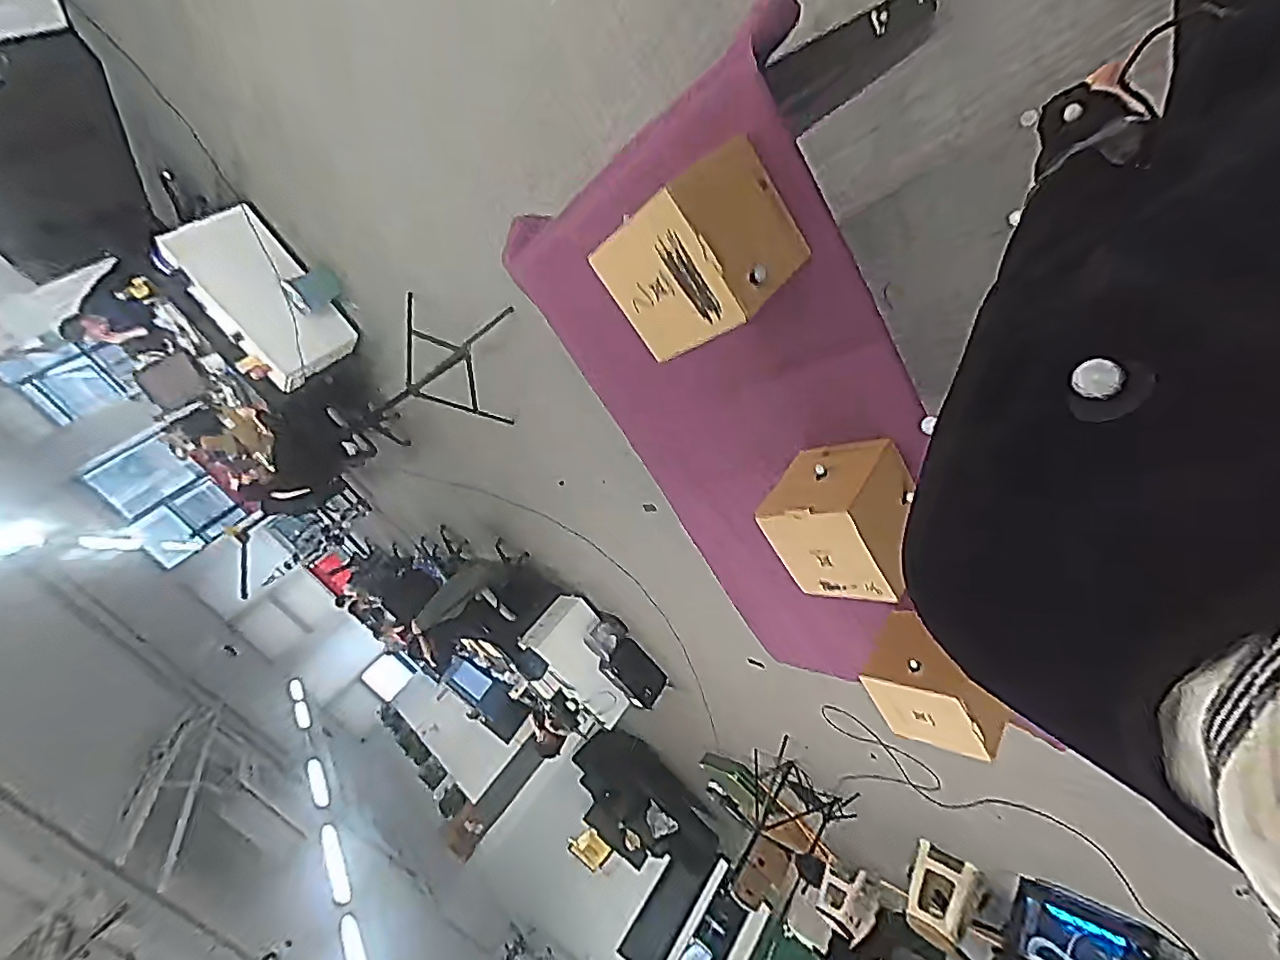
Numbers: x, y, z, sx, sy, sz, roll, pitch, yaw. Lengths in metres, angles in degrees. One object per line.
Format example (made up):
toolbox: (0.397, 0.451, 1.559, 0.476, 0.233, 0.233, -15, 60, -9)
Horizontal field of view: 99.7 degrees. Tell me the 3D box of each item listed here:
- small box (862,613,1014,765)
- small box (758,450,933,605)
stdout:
small box: (0.536, 0.358, 0.961, 0.179, 0.176, 0.168, -7, 123, 54)
small box: (0.322, 0.066, 0.840, 0.168, 0.176, 0.179, -8, 123, 53)
